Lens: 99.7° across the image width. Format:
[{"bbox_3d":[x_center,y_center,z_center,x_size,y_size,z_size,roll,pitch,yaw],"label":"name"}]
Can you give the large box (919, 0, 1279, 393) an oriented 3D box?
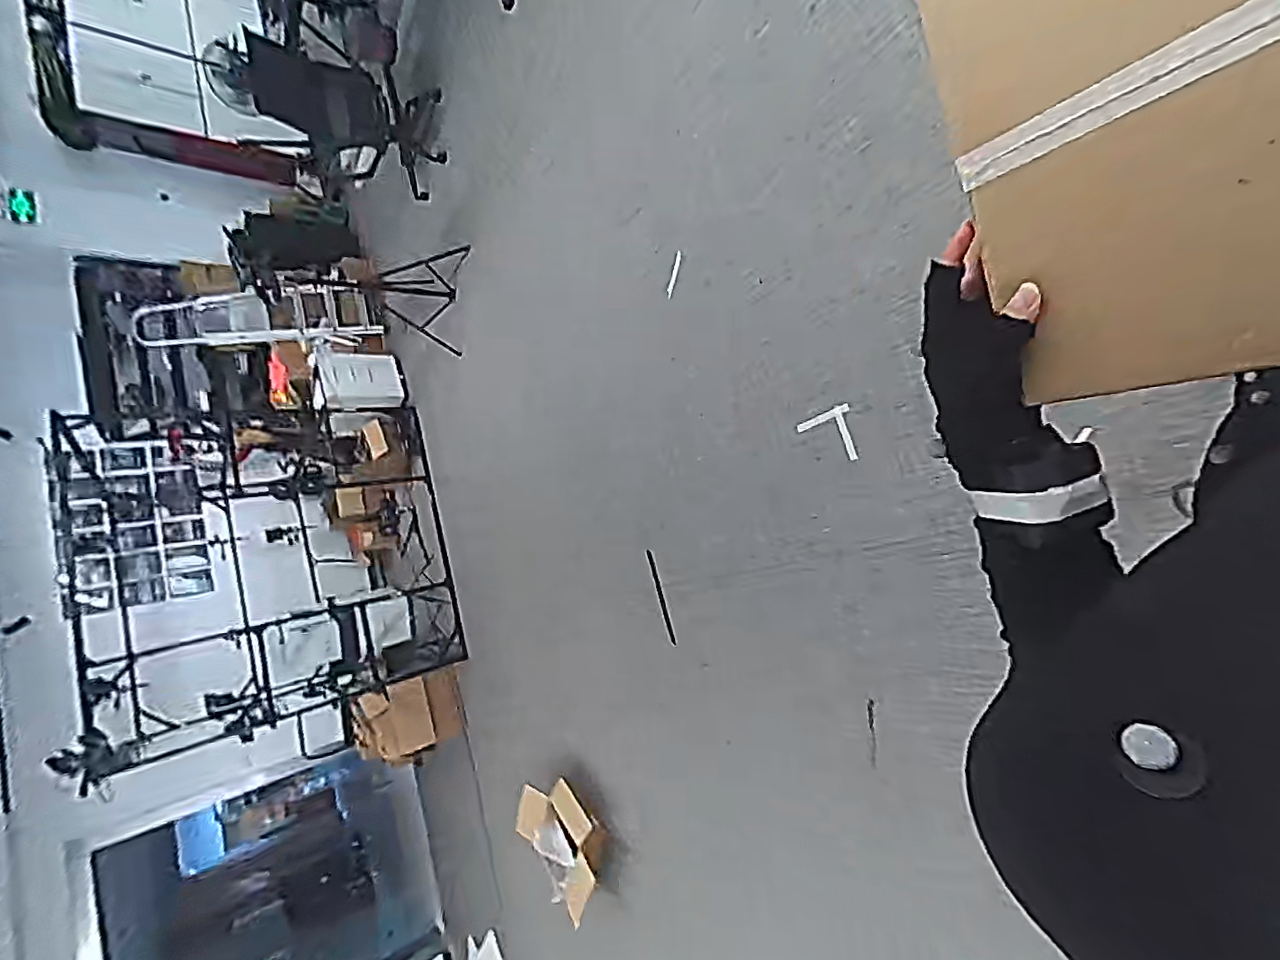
[{"bbox_3d":[0.438,-0.271,0.281,0.408,0.320,0.320,-8,105,55],"label":"large box"}]
